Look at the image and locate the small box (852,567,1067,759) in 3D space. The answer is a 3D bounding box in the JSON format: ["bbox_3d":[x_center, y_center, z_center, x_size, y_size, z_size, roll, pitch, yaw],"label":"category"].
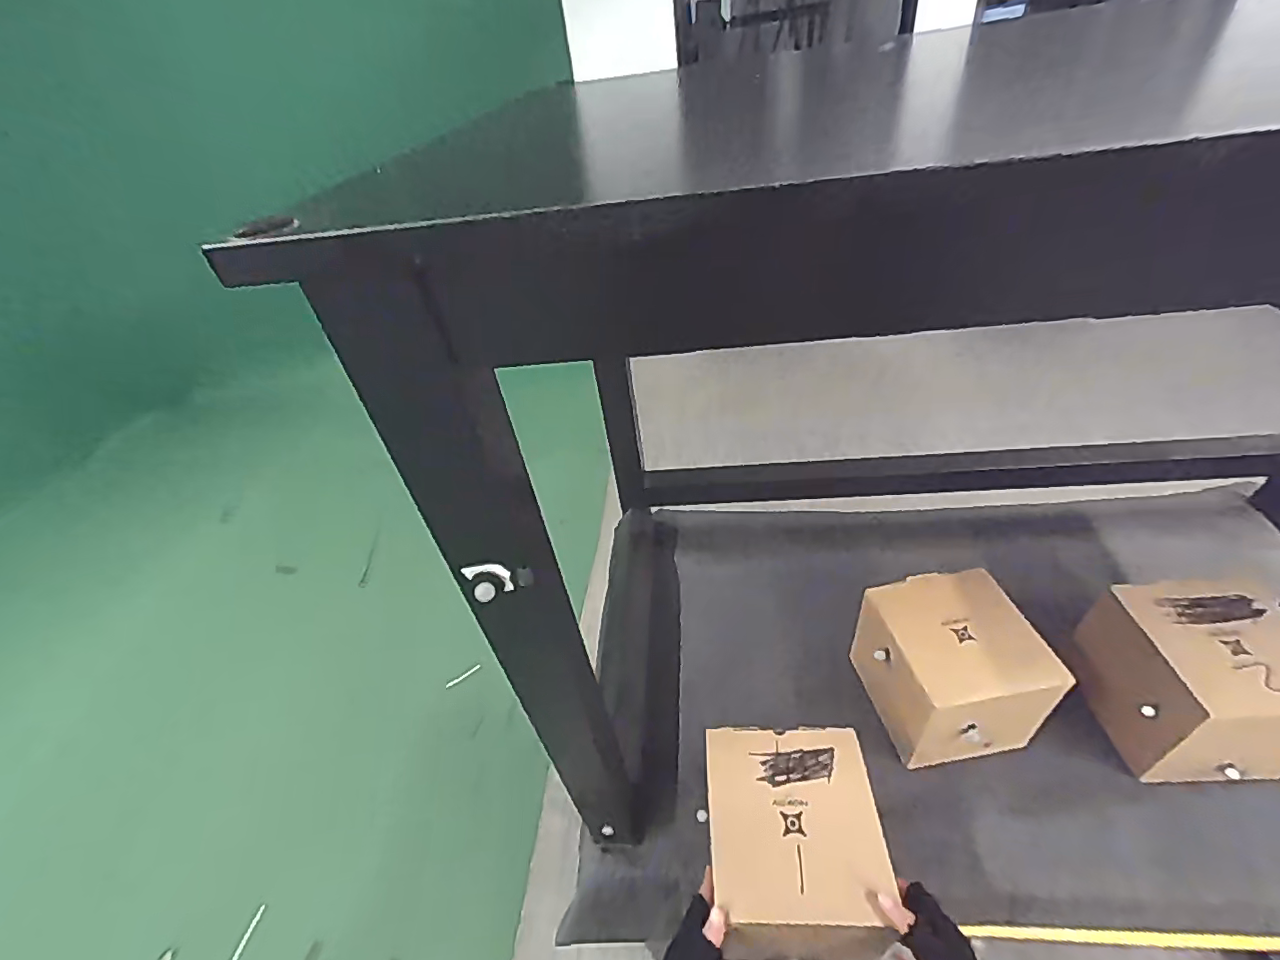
[{"bbox_3d":[0.402,0.248,0.720,0.168,0.176,0.179,-10,39,-1],"label":"small box"}]

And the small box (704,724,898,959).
[{"bbox_3d":[0.154,0.391,0.588,0.168,0.176,0.179,-2,39,6],"label":"small box"}]
